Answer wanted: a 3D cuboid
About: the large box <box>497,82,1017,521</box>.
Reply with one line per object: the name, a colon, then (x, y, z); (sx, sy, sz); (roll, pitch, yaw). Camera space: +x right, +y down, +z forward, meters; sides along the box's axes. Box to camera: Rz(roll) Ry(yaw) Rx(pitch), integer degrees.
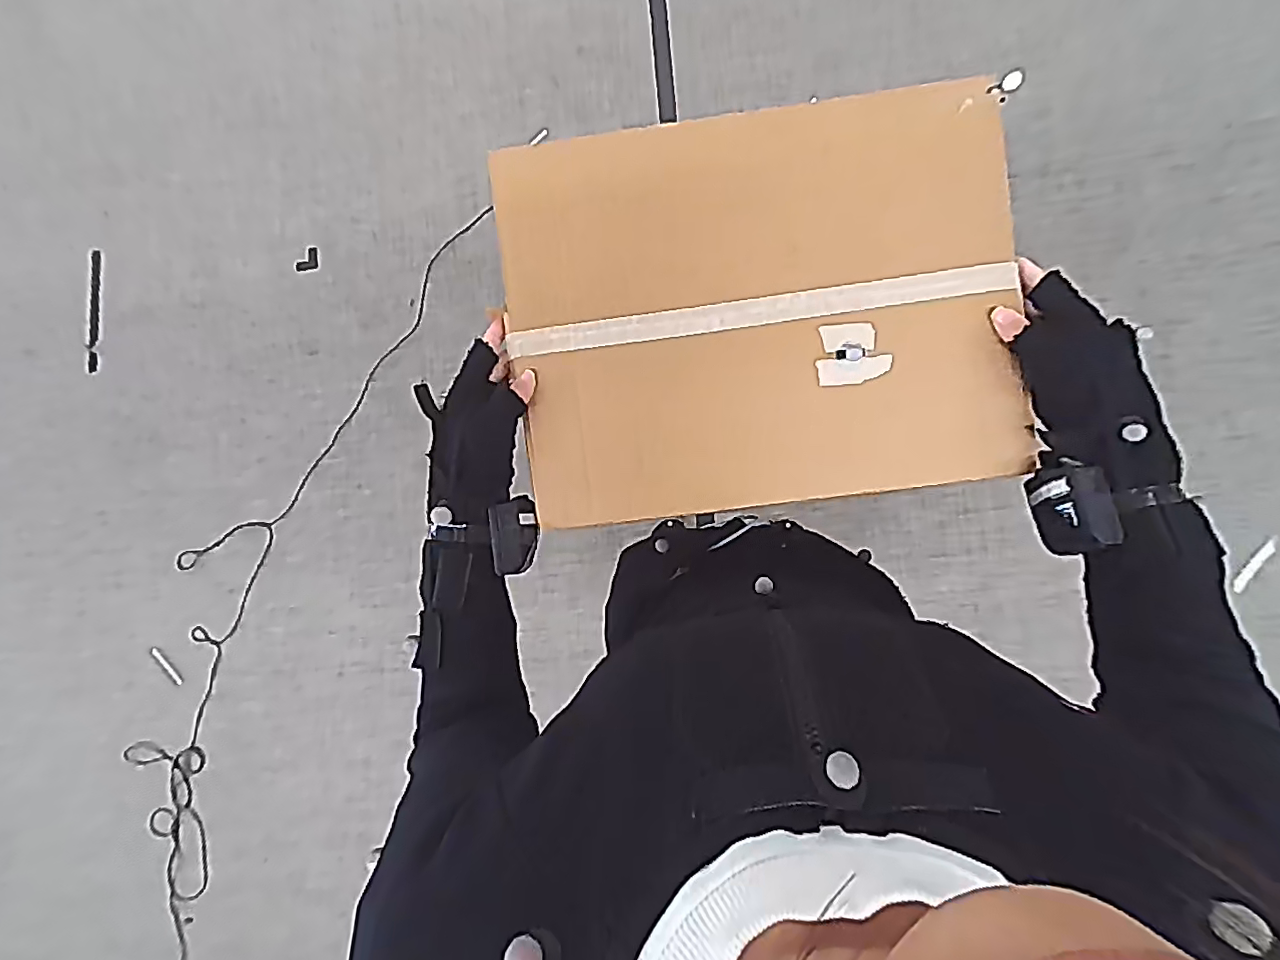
large box: (0.099, -0.149, 0.596); (0.408, 0.320, 0.320); (-7, 93, 2)
